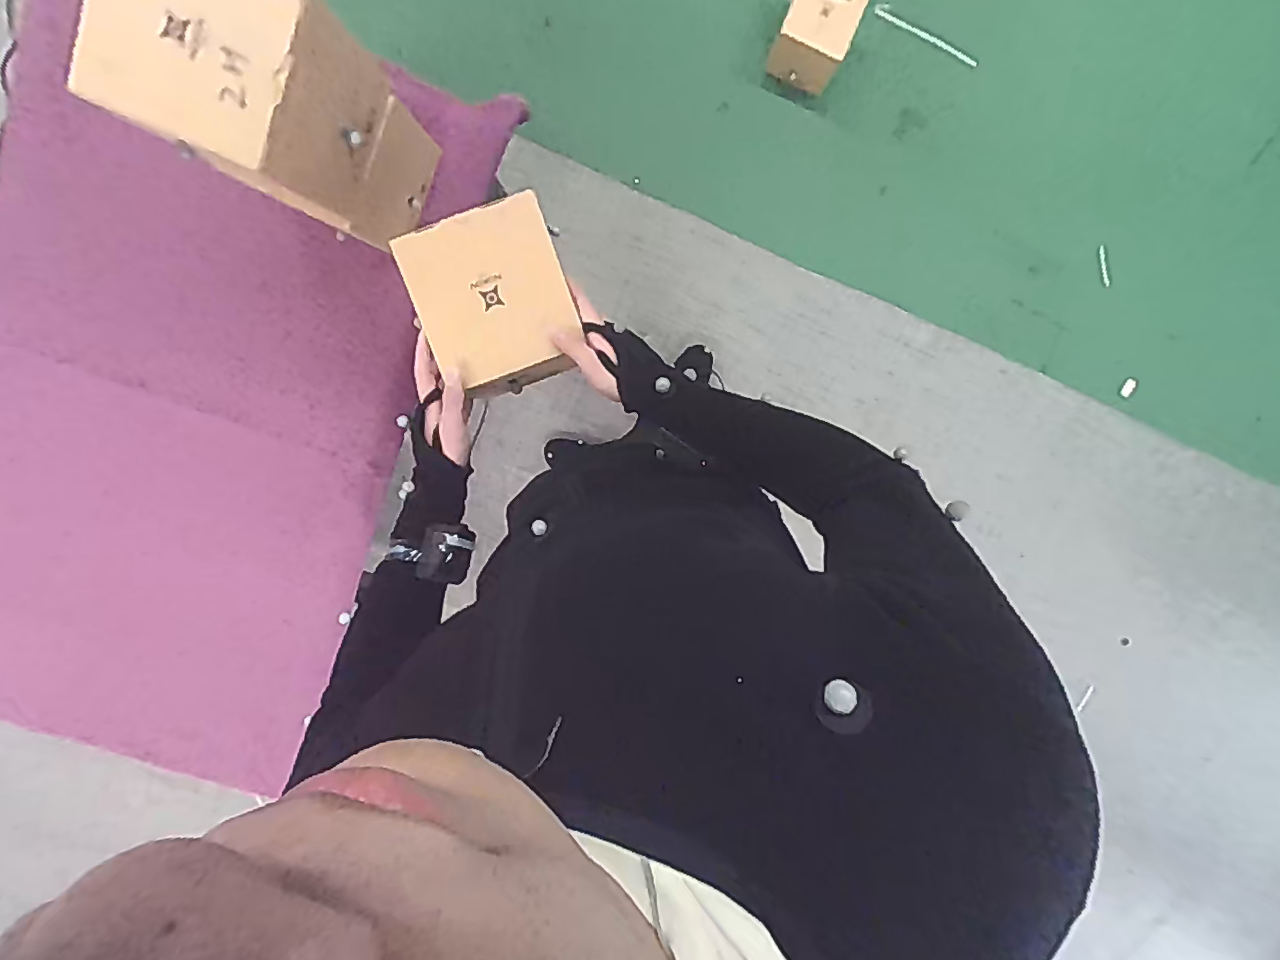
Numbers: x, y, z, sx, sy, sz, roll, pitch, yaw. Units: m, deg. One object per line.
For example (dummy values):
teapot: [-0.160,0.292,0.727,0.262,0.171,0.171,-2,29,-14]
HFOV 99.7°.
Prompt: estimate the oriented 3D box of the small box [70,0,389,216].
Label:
small box: [-0.395,-0.398,0.551,0.179,0.176,0.168,23,100,-5]

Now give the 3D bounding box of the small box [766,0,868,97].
small box: [0.437,-1.120,1.357,0.168,0.176,0.179,21,100,-5]
